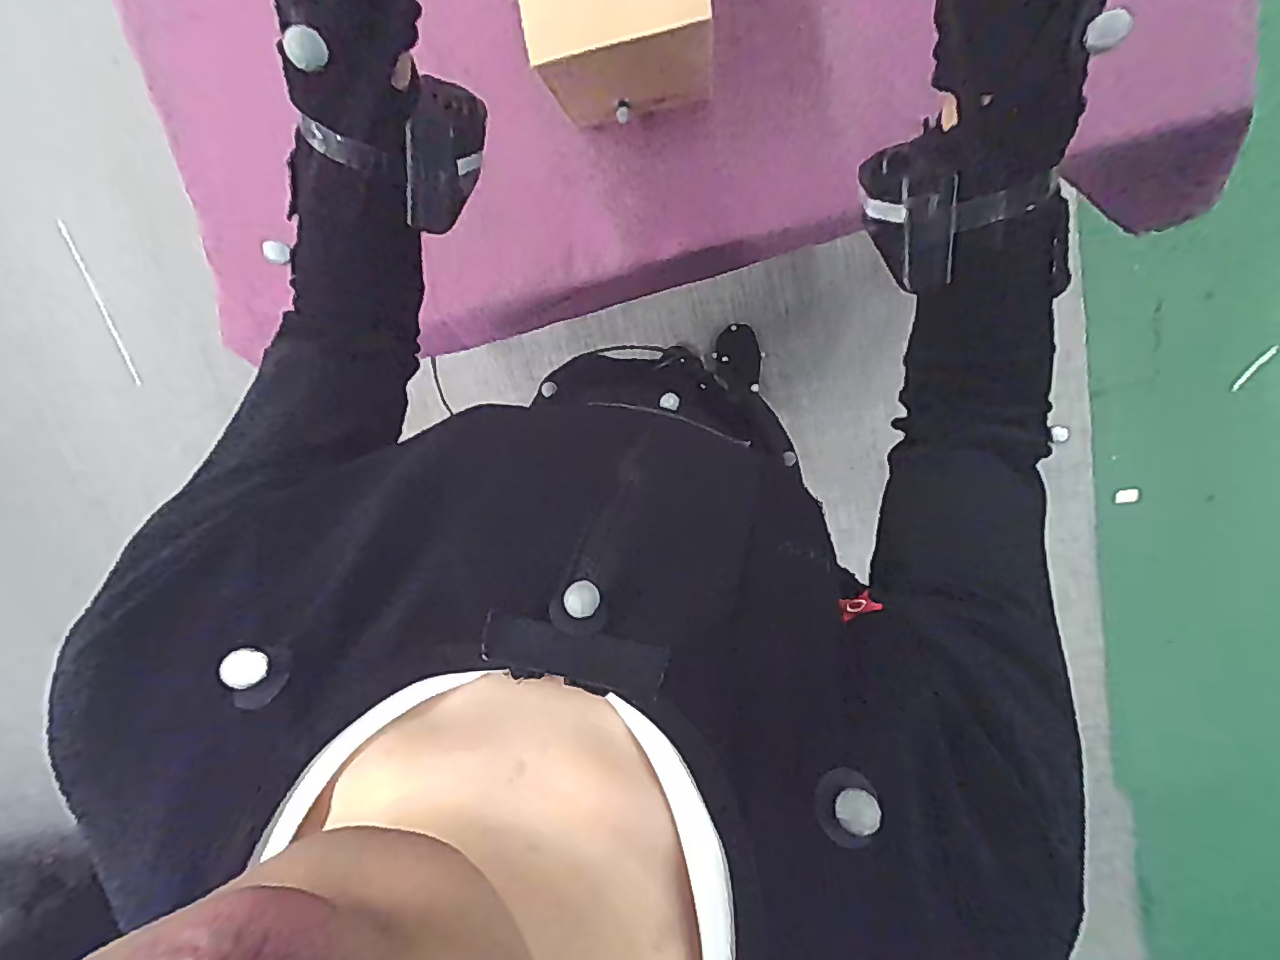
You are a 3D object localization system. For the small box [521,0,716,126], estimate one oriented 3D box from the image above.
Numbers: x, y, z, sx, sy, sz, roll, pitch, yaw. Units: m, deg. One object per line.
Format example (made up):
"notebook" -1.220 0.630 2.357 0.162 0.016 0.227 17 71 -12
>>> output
"small box" -0.019 -0.483 0.523 0.168 0.176 0.179 -7 105 10
